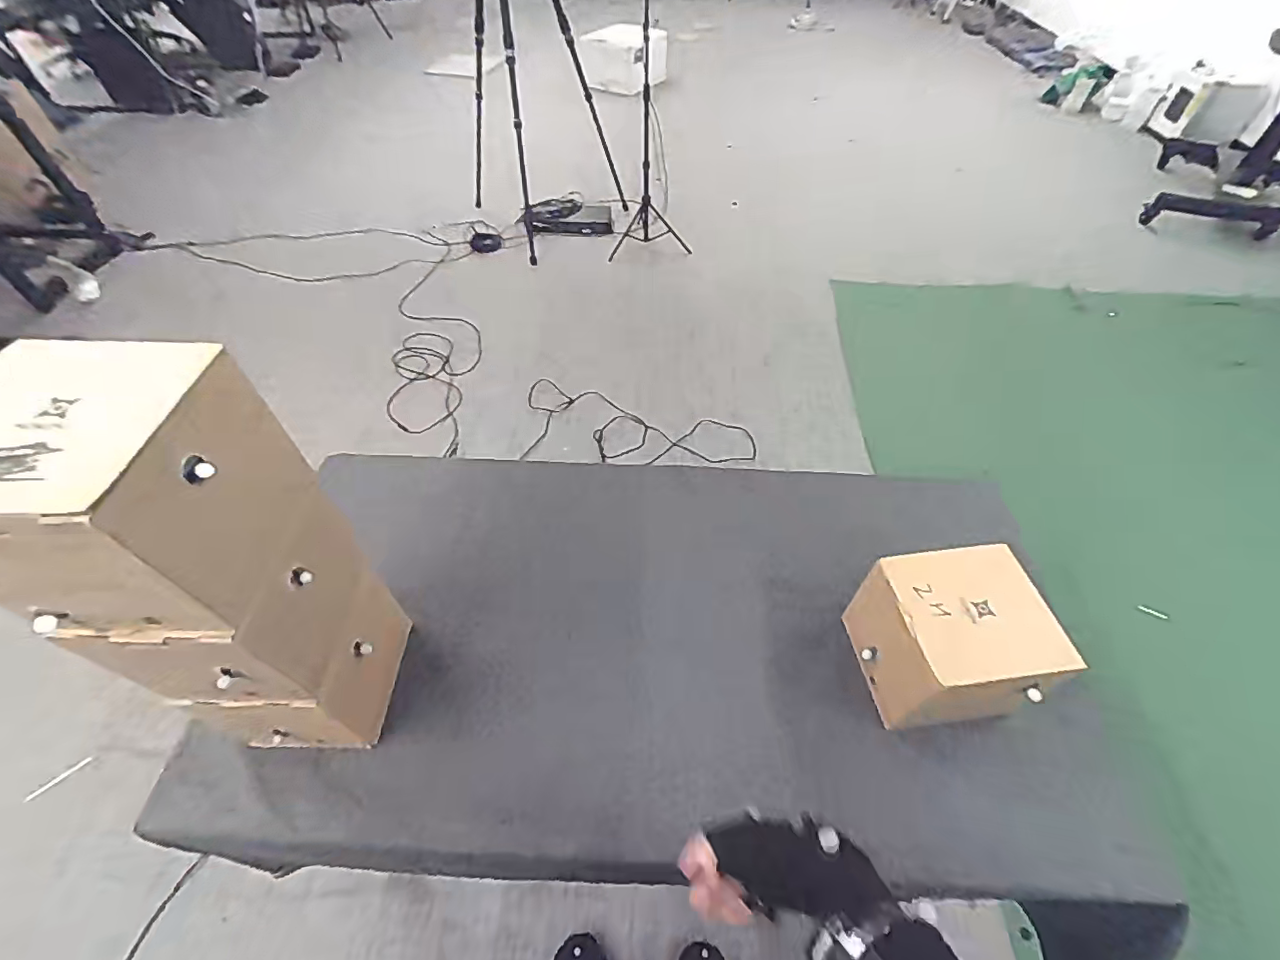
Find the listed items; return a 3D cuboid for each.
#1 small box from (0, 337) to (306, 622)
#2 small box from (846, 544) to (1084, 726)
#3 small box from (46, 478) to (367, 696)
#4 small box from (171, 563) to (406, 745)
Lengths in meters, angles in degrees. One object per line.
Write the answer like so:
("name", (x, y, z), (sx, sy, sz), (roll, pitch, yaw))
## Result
("small box", (-0.416, 0.004, 0.445), (0.168, 0.176, 0.179), (1, 50, -1))
("small box", (0.396, 0.202, 0.699), (0.179, 0.176, 0.168), (-6, 51, -3))
("small box", (-0.417, 0.114, 0.567), (0.168, 0.176, 0.179), (2, 51, 0))
("small box", (-0.420, 0.220, 0.690), (0.168, 0.176, 0.179), (1, 51, 0))
